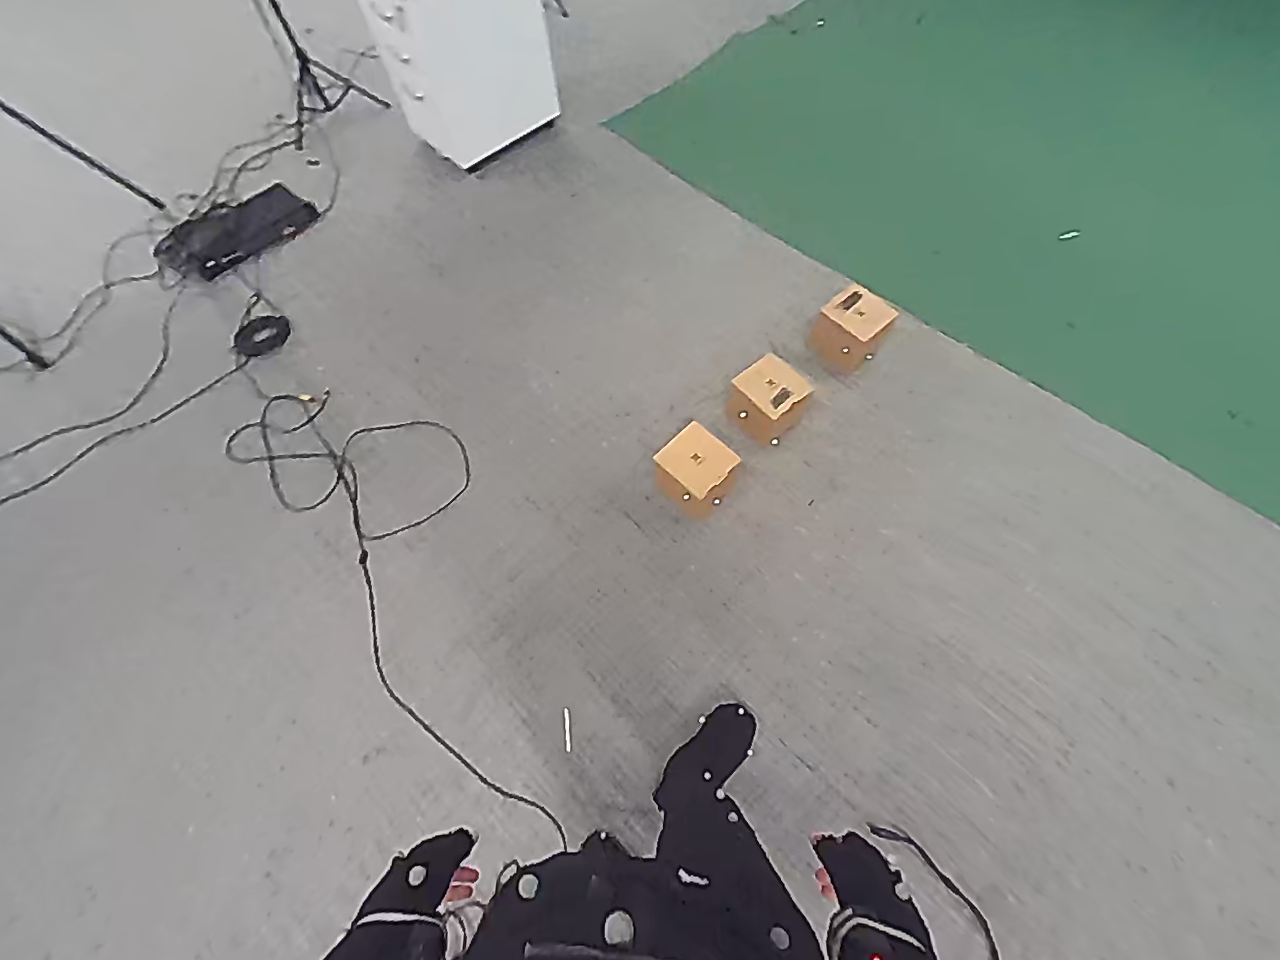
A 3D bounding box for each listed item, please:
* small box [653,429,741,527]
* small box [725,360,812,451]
[{"bbox_3d":[0.152,0.000,1.488,0.179,0.176,0.168,41,72,20],"label":"small box"},{"bbox_3d":[0.369,-0.208,1.583,0.168,0.176,0.179,-37,66,-16],"label":"small box"}]
